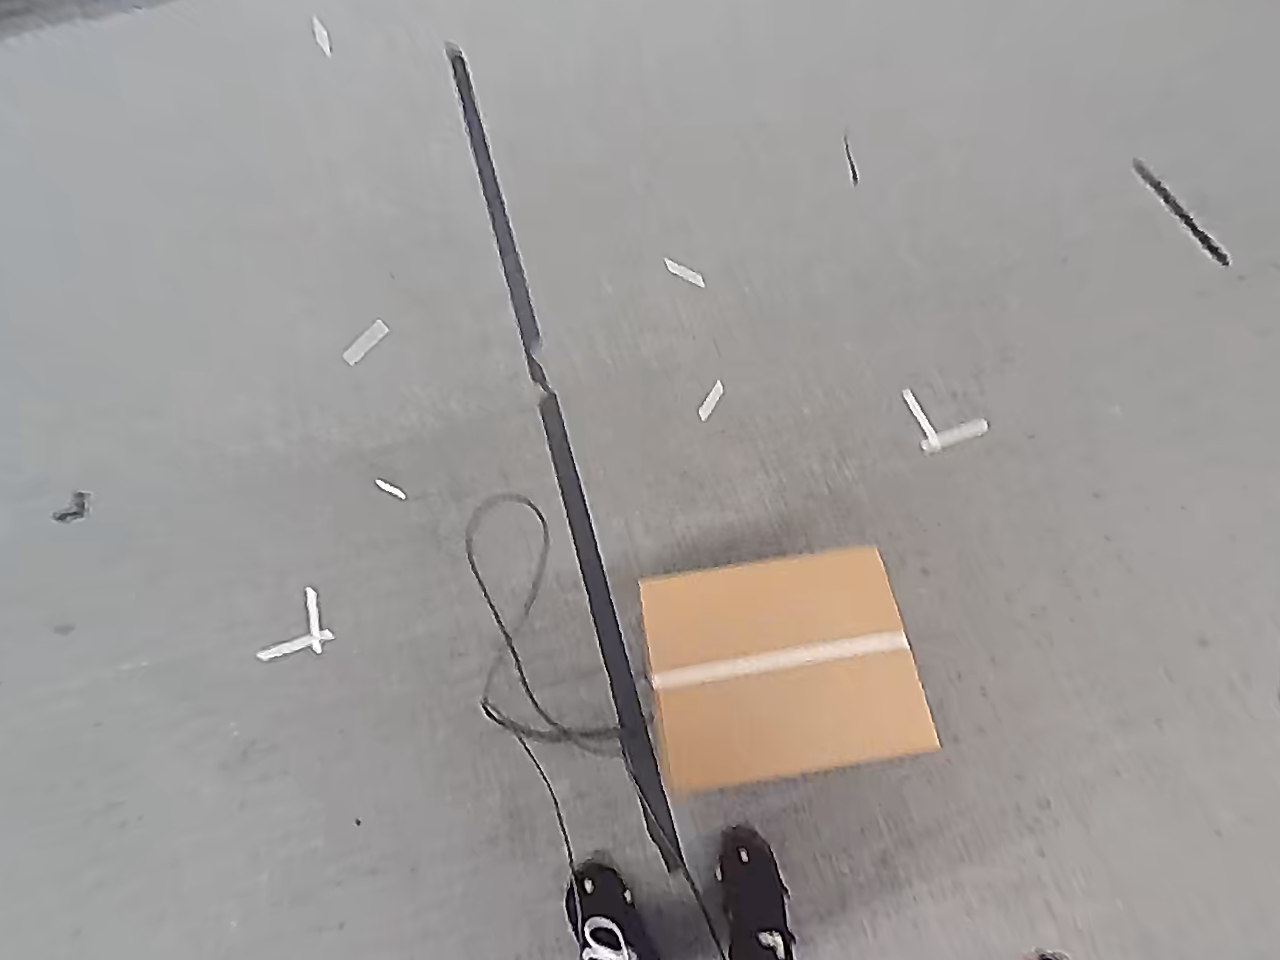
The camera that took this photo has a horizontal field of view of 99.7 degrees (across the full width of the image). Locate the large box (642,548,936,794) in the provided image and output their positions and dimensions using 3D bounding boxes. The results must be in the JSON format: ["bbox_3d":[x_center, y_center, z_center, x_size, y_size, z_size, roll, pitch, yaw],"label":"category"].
[{"bbox_3d":[0.226,0.342,0.989,0.408,0.320,0.320,-9,70,-3],"label":"large box"}]
